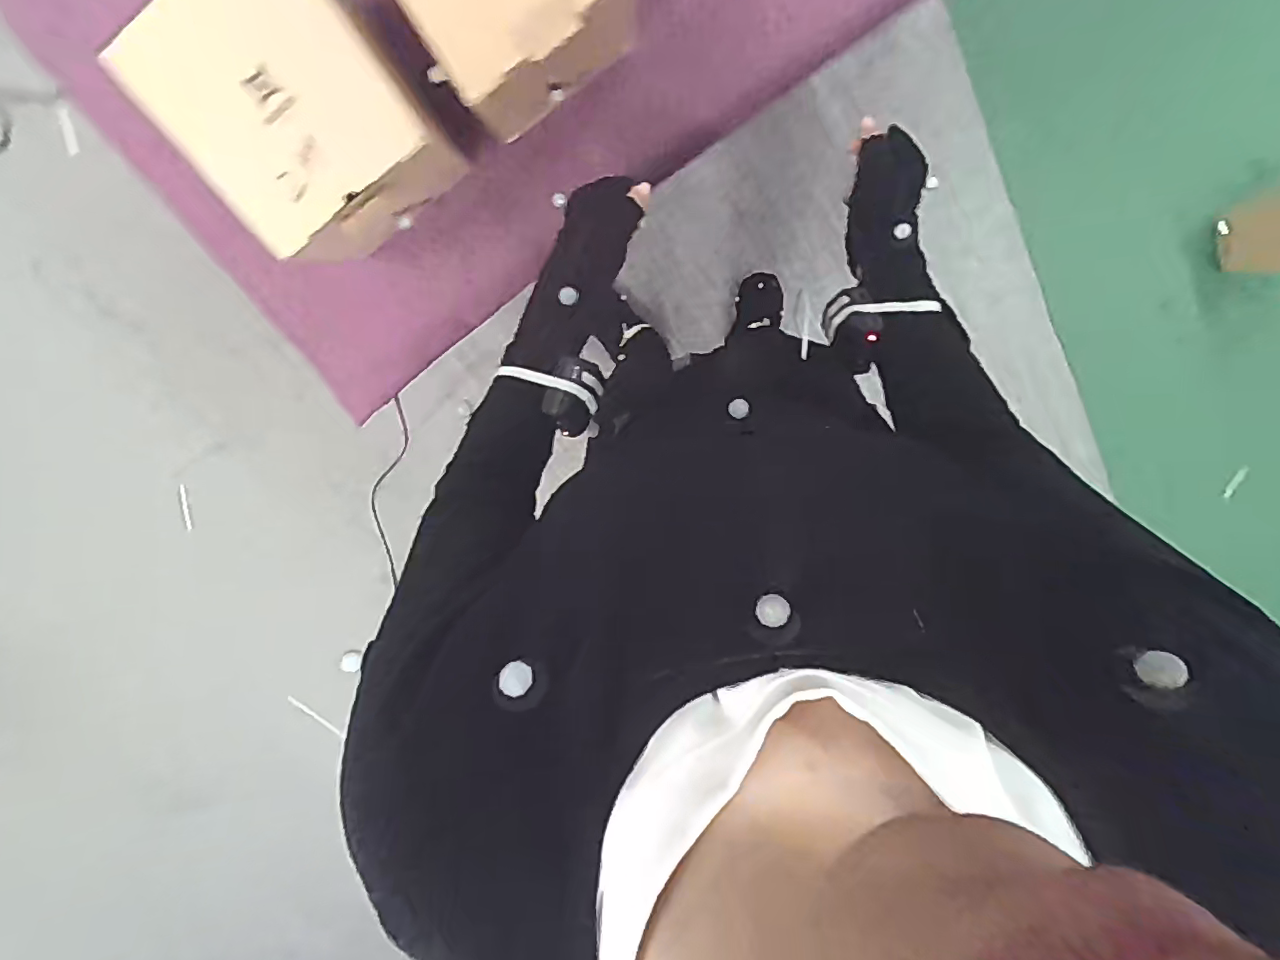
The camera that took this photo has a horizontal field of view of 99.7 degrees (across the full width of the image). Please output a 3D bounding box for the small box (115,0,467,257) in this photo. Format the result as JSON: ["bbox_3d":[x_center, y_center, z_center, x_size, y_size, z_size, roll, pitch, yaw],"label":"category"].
[{"bbox_3d":[-0.293,-0.327,0.501,0.168,0.176,0.179,-33,111,10],"label":"small box"}]

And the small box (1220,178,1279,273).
[{"bbox_3d":[1.554,-0.609,1.291,0.179,0.176,0.168,-33,111,9],"label":"small box"}]
